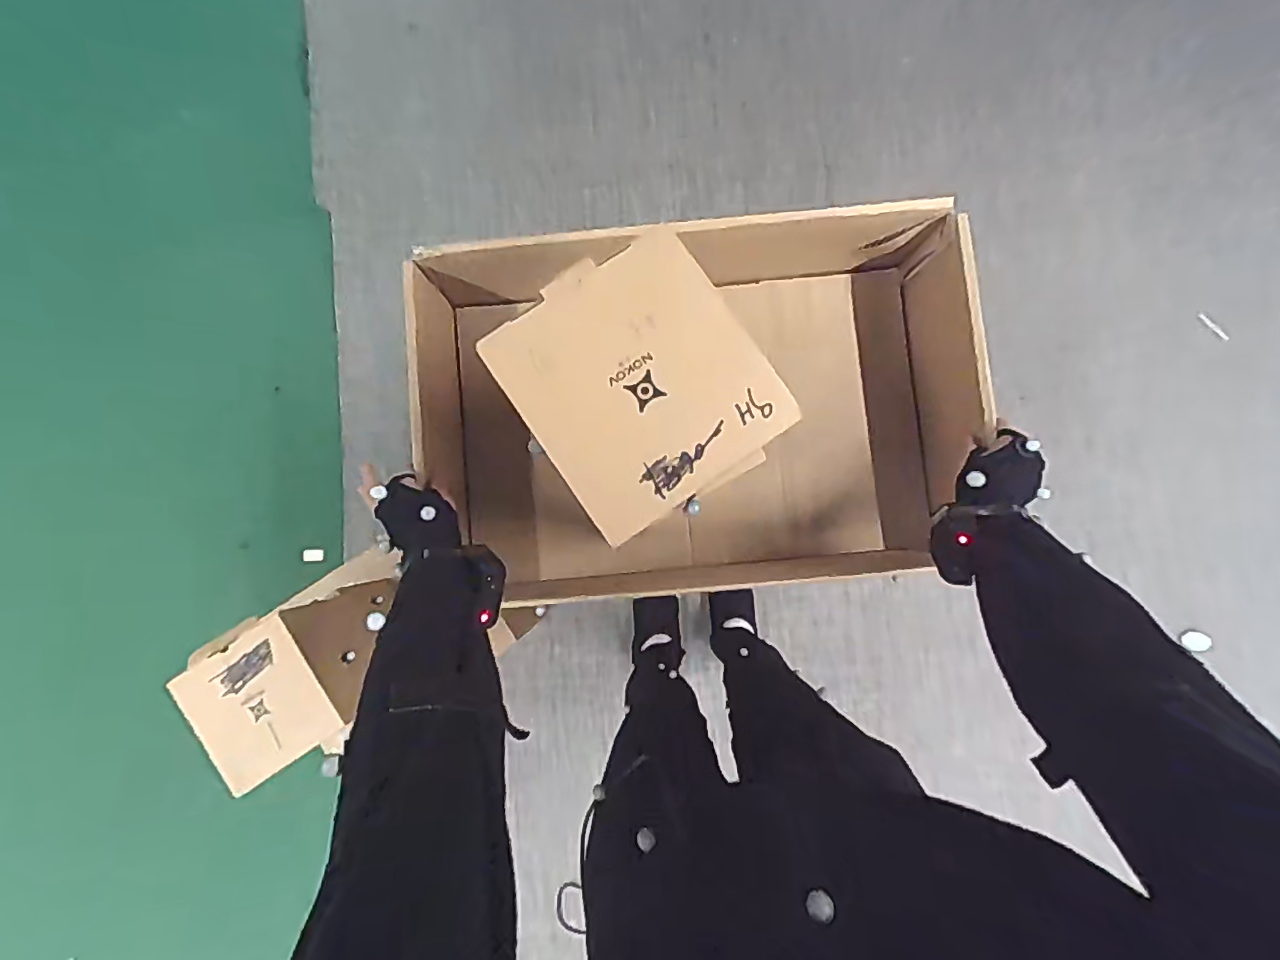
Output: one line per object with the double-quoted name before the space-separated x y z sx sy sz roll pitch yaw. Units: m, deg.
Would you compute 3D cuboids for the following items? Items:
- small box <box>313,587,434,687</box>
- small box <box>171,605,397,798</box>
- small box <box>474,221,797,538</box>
"small box" -0.494 0.299 0.932 0.168 0.176 0.179 -38 86 -3
"small box" -0.487 0.294 0.768 0.168 0.176 0.179 -33 87 -2
"small box" -0.005 -0.064 0.454 0.168 0.176 0.179 -34 85 -3
